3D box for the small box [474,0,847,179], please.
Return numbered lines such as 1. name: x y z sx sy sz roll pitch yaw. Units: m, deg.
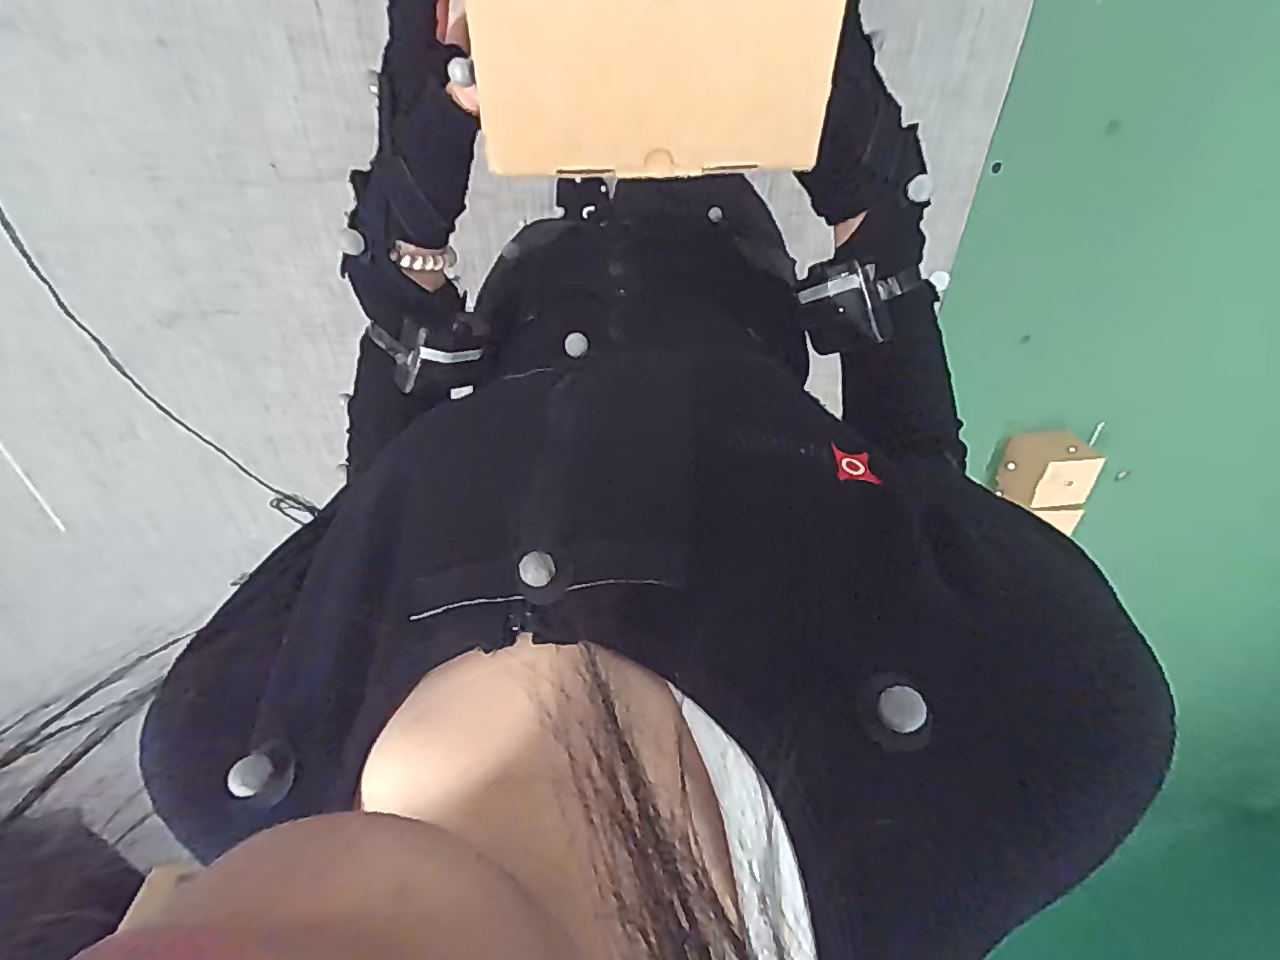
1. small box: -0.002 -0.272 0.279 0.168 0.176 0.179 -6 131 -7
